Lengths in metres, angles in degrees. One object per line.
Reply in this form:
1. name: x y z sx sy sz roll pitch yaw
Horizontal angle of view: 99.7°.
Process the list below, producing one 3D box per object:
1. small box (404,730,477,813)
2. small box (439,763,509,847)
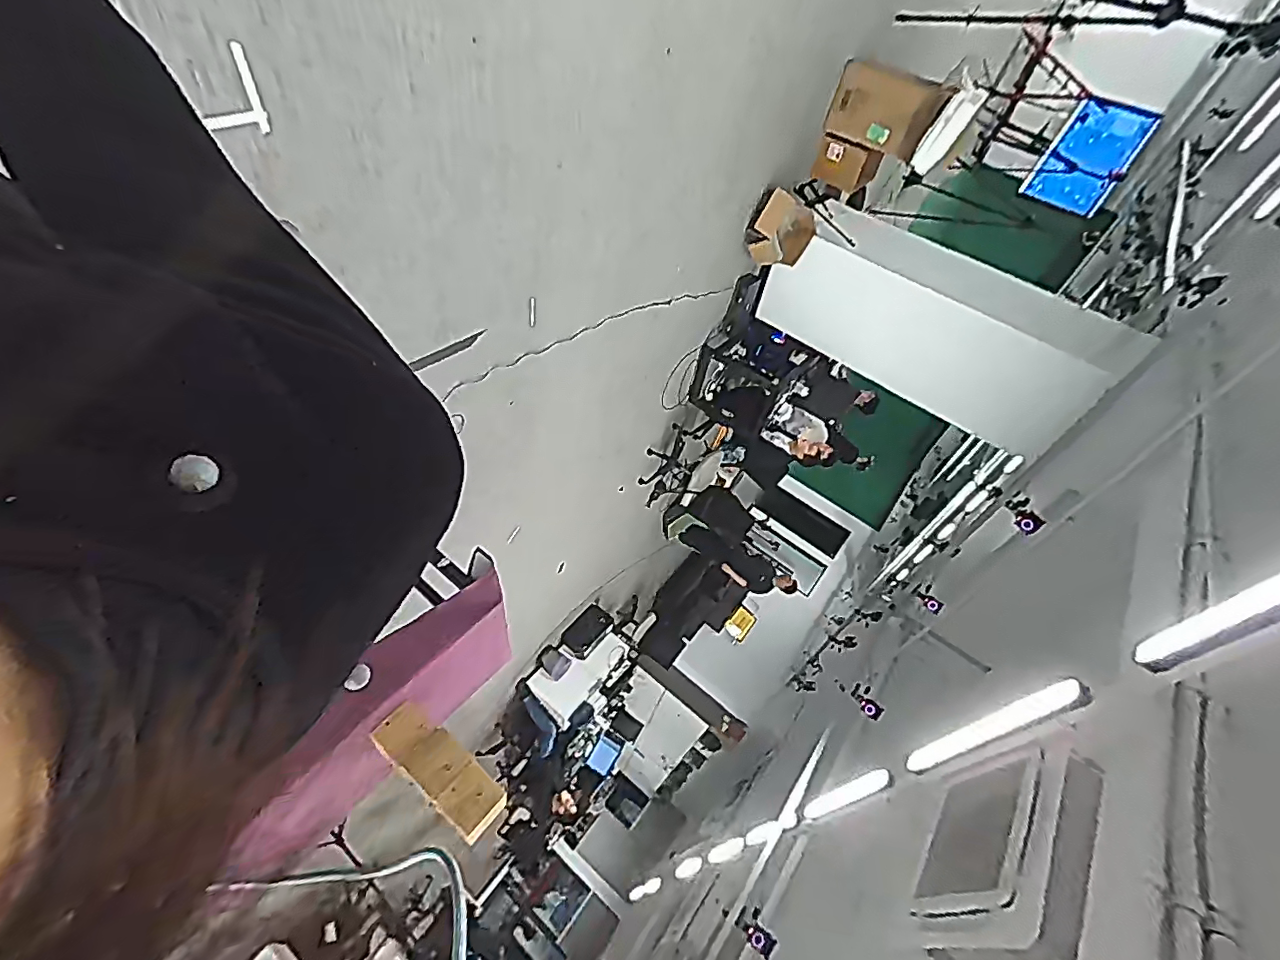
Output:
1. small box: -0.698 1.019 1.903 0.179 0.176 0.168 -40 156 -38
2. small box: -0.571 1.111 1.858 0.168 0.176 0.179 -41 158 -38
